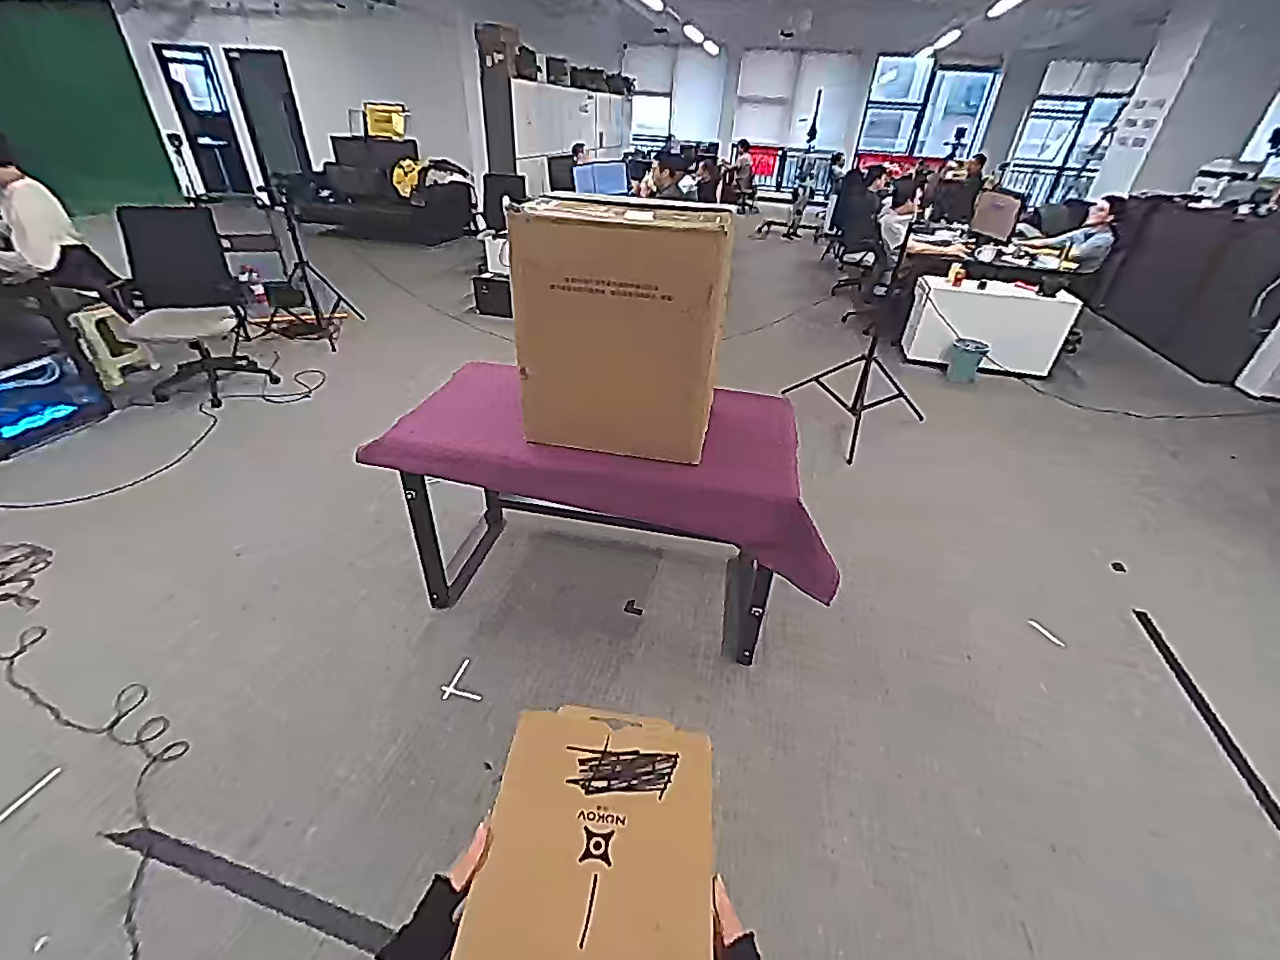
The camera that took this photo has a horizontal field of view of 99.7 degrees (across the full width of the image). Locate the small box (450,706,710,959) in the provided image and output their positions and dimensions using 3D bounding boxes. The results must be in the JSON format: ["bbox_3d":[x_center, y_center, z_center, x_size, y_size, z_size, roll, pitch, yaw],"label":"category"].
[{"bbox_3d":[-0.038,0.320,0.442,0.168,0.176,0.179,7,36,1],"label":"small box"}]
